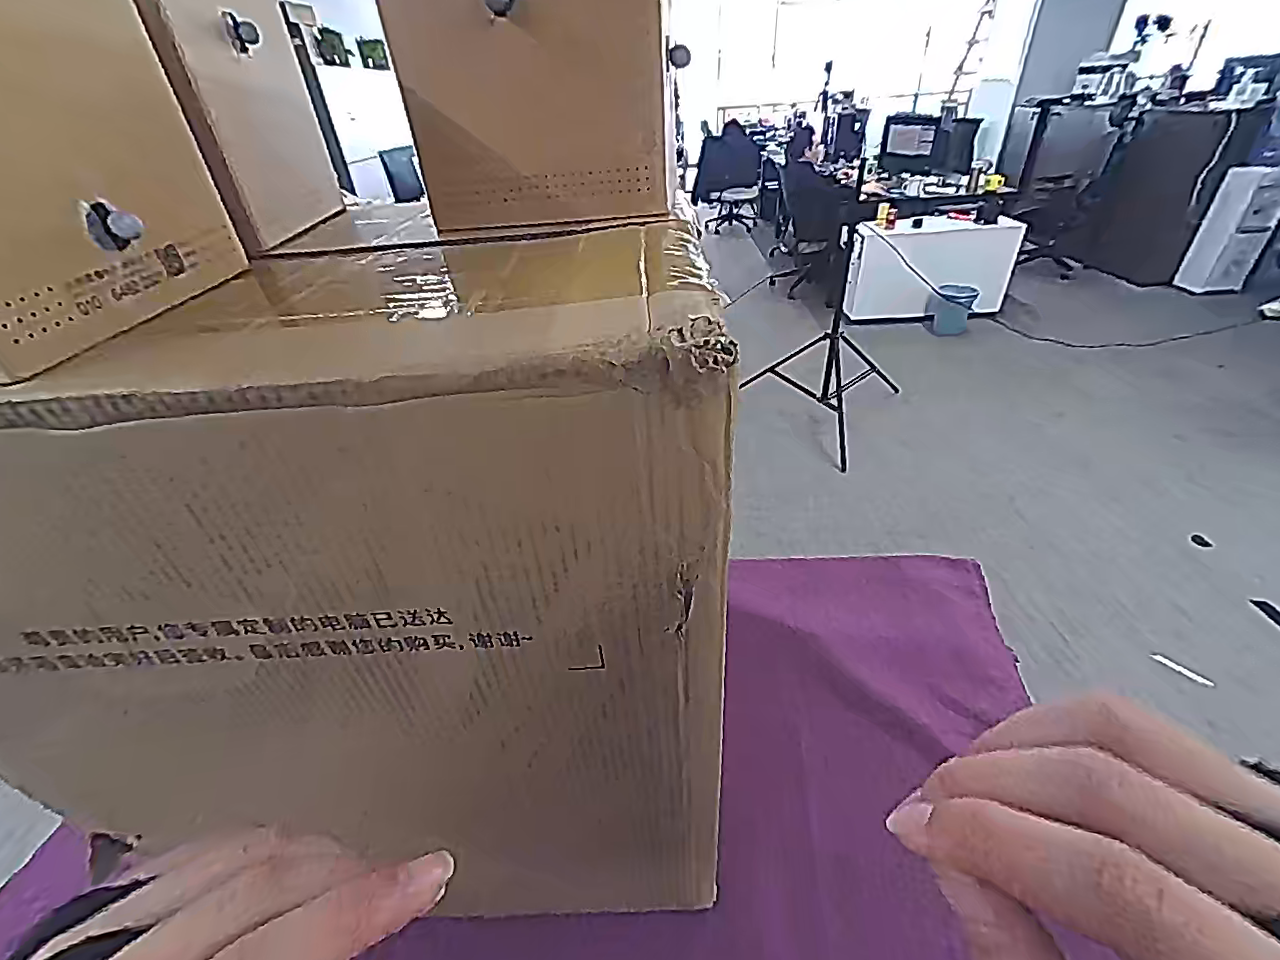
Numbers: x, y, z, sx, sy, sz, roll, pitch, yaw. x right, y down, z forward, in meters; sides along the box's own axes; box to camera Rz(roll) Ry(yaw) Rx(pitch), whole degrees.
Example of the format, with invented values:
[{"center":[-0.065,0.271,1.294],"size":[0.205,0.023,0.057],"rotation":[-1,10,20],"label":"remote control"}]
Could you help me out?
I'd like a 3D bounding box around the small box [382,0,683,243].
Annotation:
[{"center":[-0.058,-0.290,0.411],"size":[0.179,0.176,0.168],"rotation":[-1,36,7],"label":"small box"}]
